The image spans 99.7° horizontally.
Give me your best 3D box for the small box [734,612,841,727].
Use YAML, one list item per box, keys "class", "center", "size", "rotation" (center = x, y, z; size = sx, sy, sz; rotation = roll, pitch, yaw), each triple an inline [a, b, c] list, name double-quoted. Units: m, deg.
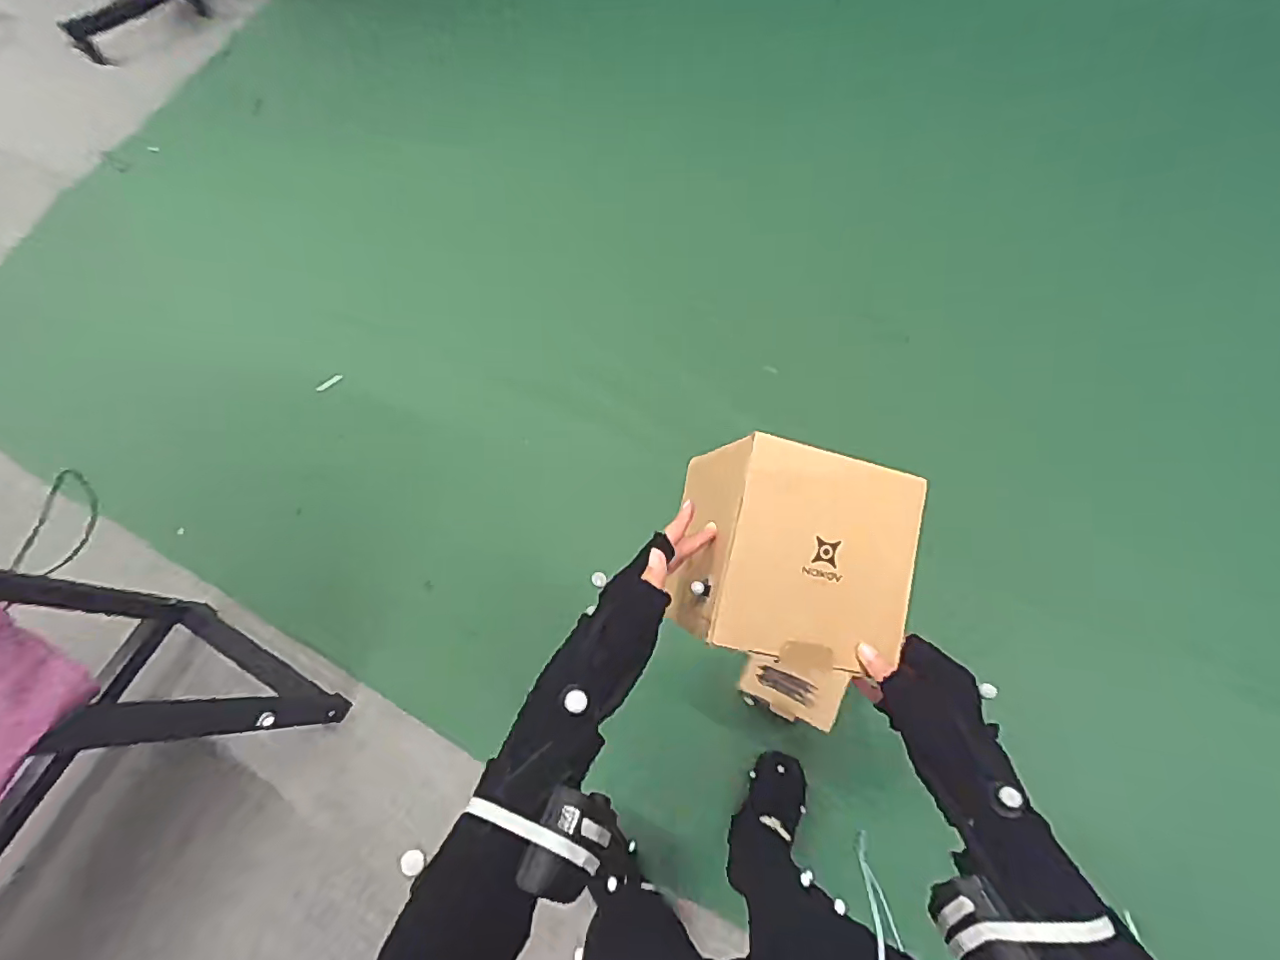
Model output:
- class: "small box"
  center: [0.318, 0.418, 1.193]
  size: [0.168, 0.176, 0.179]
  rotation: [25, 74, 16]
